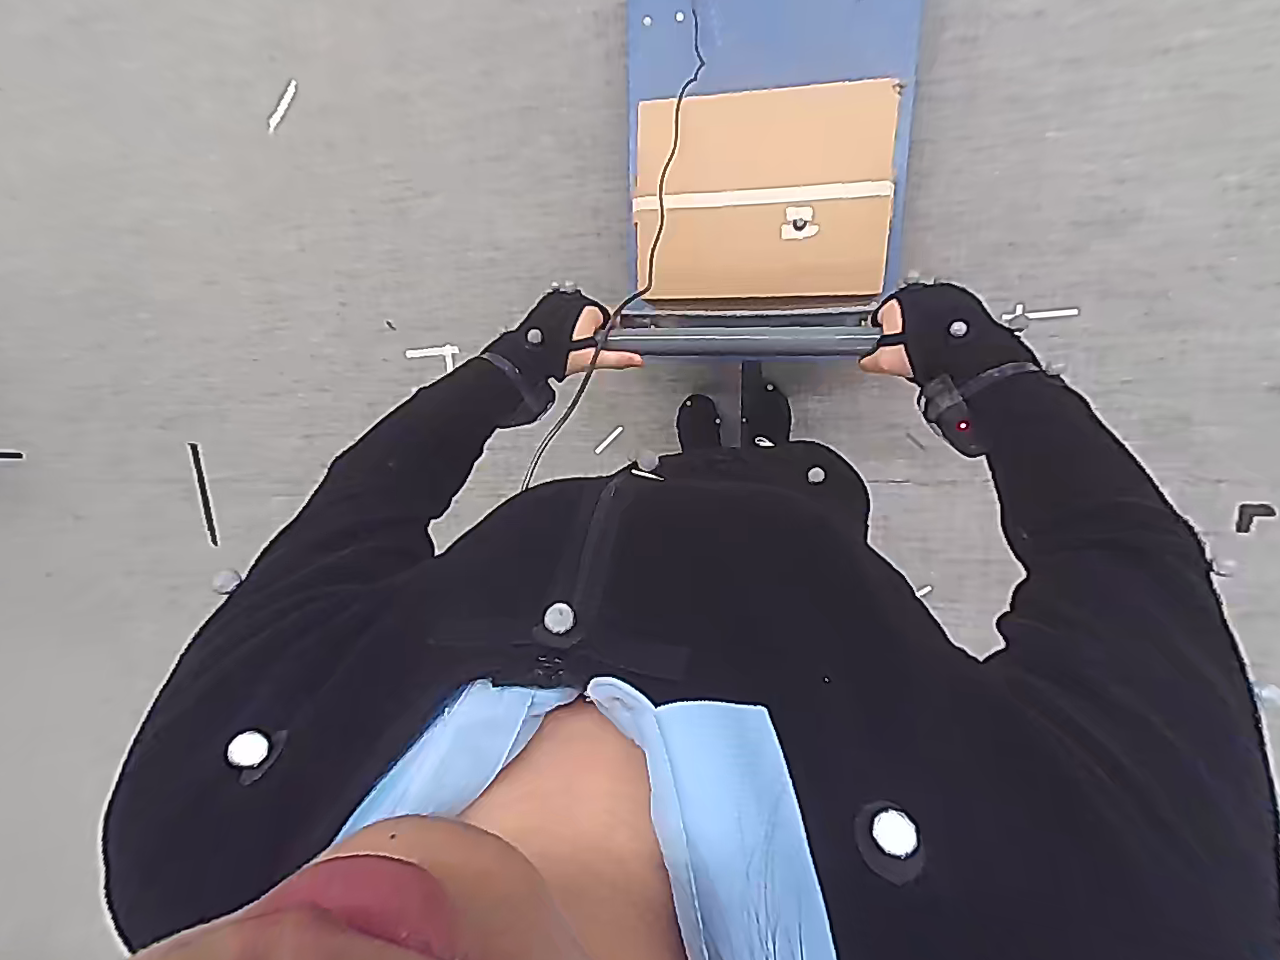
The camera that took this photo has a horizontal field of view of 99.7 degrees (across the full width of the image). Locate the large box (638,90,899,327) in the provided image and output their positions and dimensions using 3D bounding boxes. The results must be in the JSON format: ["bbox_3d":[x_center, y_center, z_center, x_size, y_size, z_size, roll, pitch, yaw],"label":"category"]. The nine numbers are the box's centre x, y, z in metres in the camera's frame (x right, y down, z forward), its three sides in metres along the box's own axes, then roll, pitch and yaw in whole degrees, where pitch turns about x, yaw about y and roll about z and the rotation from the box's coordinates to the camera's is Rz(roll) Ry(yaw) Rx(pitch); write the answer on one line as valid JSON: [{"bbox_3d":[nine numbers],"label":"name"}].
[{"bbox_3d":[0.219,-0.464,1.013,0.408,0.320,0.320,2,102,11],"label":"large box"}]
